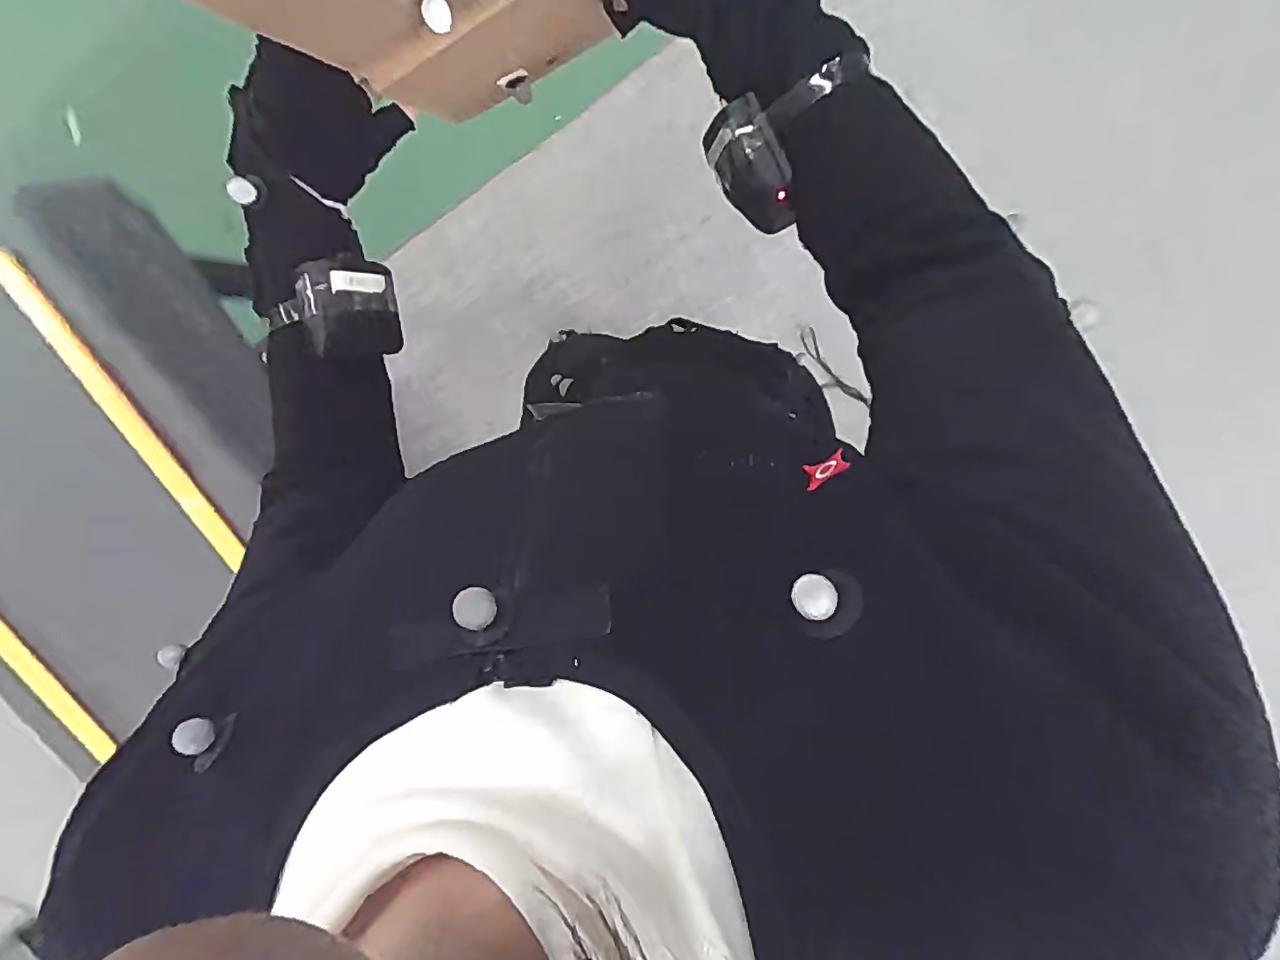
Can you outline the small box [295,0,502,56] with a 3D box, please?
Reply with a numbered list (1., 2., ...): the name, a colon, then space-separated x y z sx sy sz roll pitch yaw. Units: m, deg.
1. small box: -0.132 -0.333 0.231 0.168 0.176 0.179 -16 113 13
